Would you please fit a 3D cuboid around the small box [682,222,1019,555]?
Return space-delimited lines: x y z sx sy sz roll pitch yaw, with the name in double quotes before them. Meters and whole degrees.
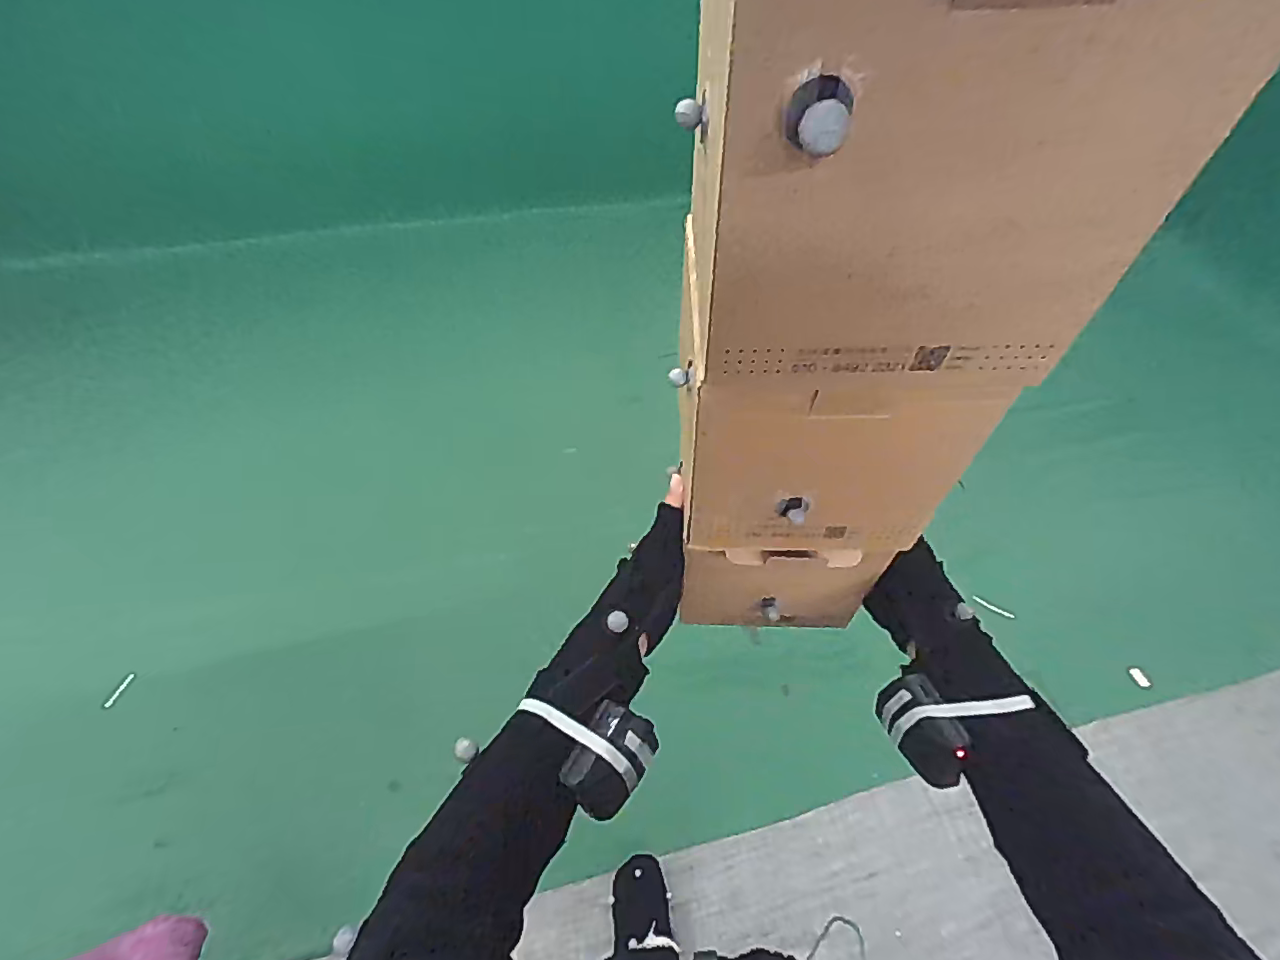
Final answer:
"small box" 0.117 -0.063 0.394 0.168 0.176 0.179 -1 53 2

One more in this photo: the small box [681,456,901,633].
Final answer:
"small box" 0.125 0.030 0.527 0.168 0.176 0.179 1 52 4
